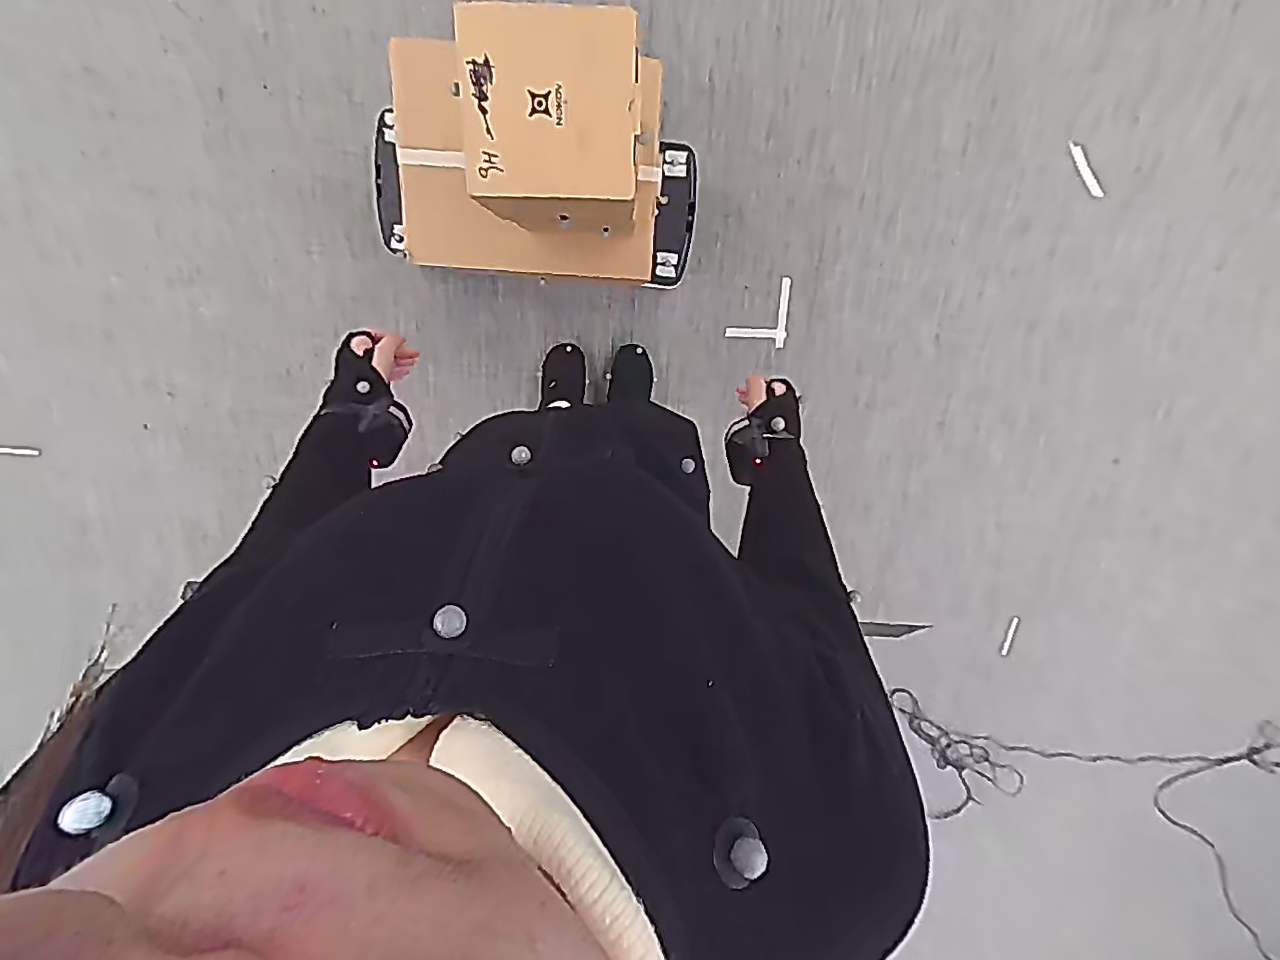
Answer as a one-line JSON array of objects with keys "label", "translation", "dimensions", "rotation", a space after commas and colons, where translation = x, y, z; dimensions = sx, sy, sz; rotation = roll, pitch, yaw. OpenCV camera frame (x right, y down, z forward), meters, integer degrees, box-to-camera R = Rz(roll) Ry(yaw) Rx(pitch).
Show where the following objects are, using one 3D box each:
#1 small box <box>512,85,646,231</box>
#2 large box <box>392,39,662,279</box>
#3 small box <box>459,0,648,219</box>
[{"label": "small box", "translation": [-0.085, -0.448, 0.753], "dimensions": [0.179, 0.176, 0.168], "rotation": [2, 109, -2]}, {"label": "large box", "translation": [-0.171, -0.537, 0.979], "dimensions": [0.408, 0.320, 0.320], "rotation": [3, 108, -2]}, {"label": "small box", "translation": [-0.087, -0.393, 0.599], "dimensions": [0.179, 0.176, 0.168], "rotation": [1, 107, -3]}]
